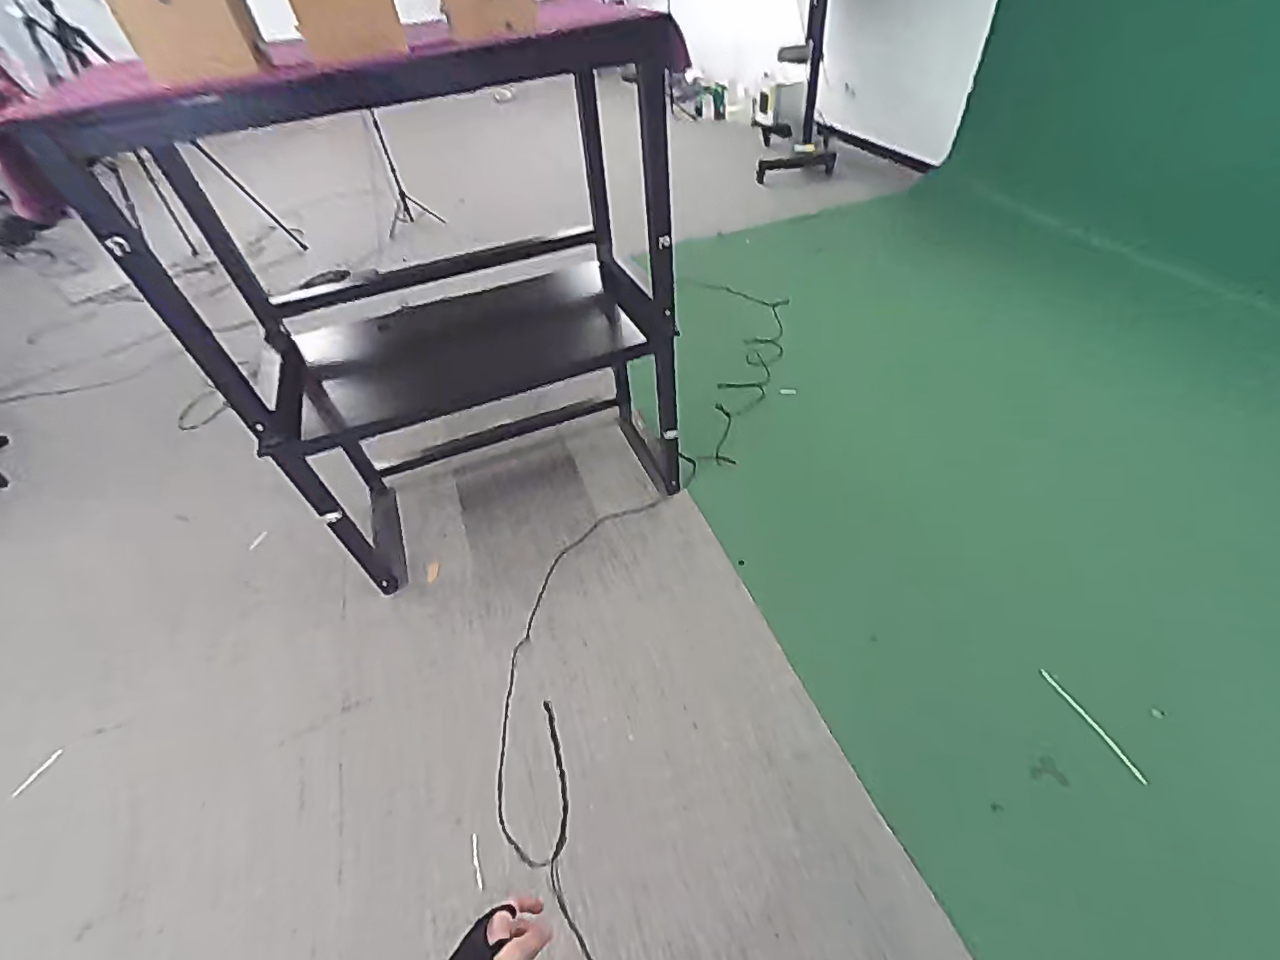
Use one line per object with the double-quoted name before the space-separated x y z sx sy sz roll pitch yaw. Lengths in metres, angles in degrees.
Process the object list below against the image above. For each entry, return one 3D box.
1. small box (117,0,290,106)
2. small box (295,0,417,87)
"small box" -0.783 -0.801 0.984 0.179 0.176 0.168 -15 46 -9
"small box" -0.544 -0.881 1.036 0.179 0.176 0.168 -21 46 -12
